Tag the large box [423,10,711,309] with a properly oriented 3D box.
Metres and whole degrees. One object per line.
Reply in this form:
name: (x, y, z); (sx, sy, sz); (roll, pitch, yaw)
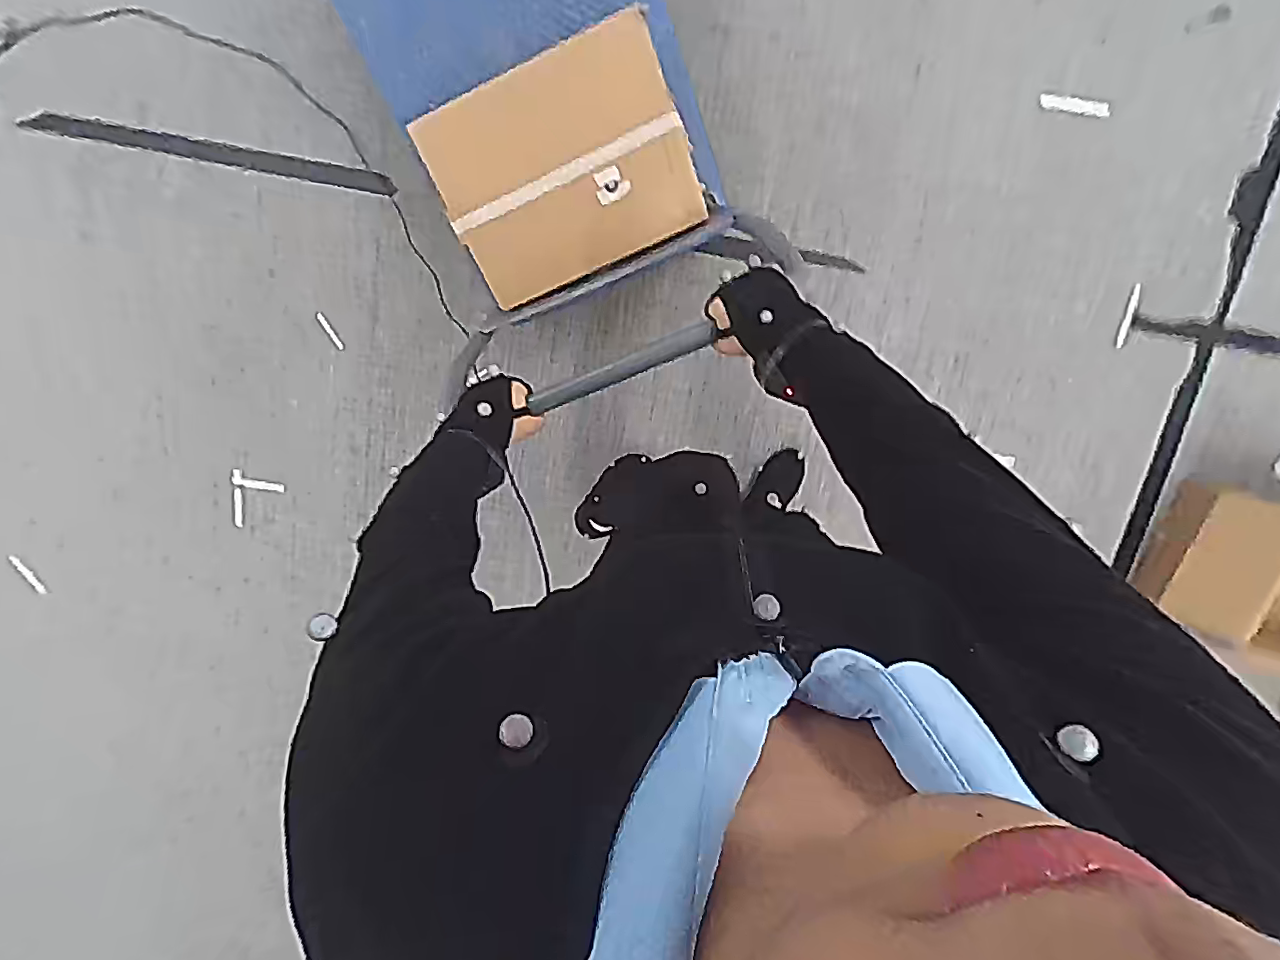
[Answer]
large box: (-0.121, -0.577, 1.041); (0.408, 0.320, 0.320); (-22, 116, 8)
